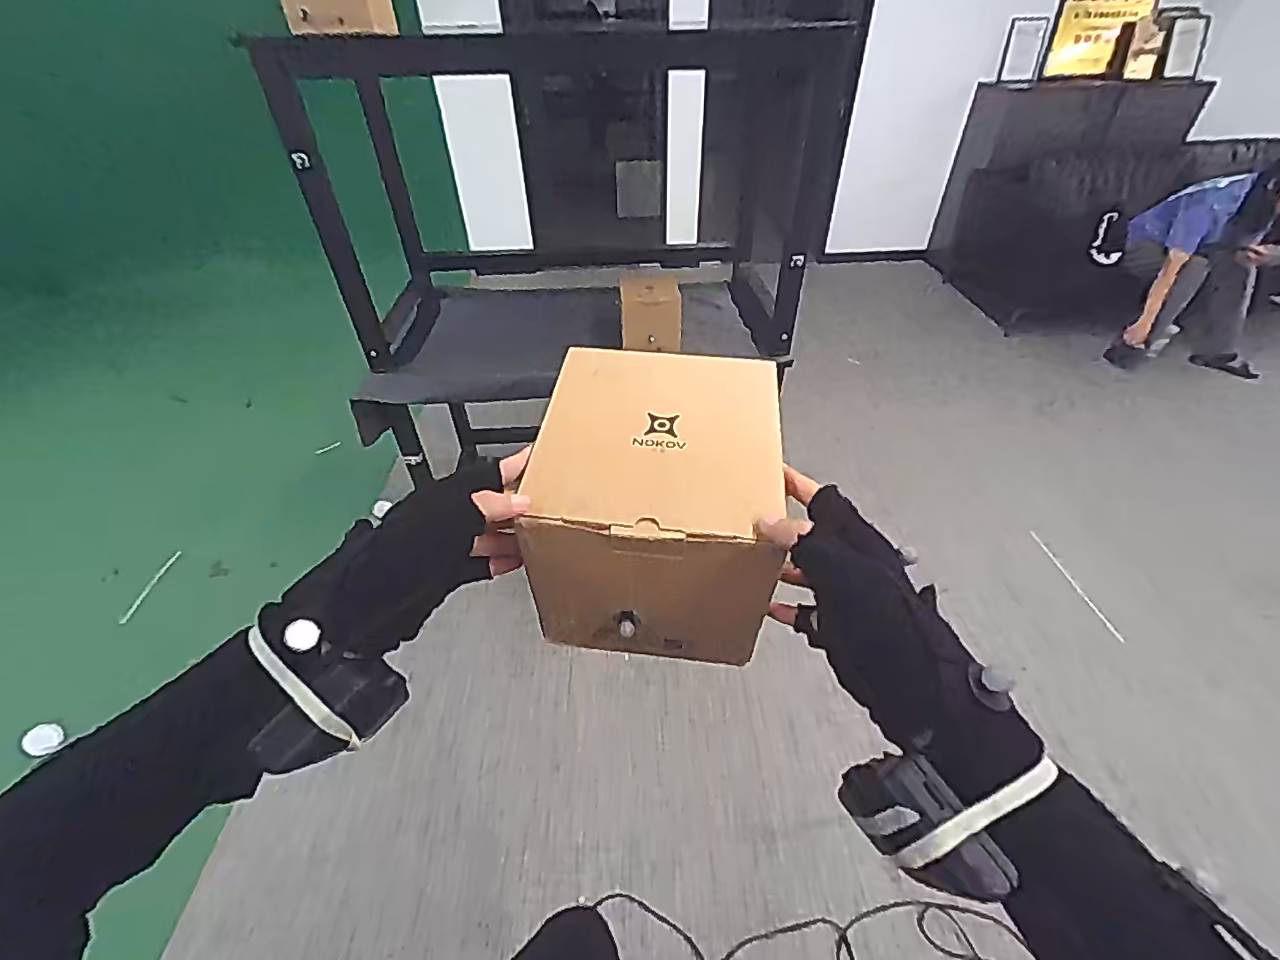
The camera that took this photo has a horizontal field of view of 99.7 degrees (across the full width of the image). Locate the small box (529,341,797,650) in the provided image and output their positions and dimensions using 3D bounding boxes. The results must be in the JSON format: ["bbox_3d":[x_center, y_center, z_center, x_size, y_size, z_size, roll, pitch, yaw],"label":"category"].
[{"bbox_3d":[0.020,0.012,0.436,0.168,0.176,0.179,5,48,4],"label":"small box"}]

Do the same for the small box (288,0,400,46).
[{"bbox_3d":[-0.612,-1.001,1.105,0.168,0.176,0.179,-3,39,-3],"label":"small box"}]

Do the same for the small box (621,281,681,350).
[{"bbox_3d":[0.029,-0.473,1.597,0.168,0.176,0.179,-4,40,-2],"label":"small box"}]
